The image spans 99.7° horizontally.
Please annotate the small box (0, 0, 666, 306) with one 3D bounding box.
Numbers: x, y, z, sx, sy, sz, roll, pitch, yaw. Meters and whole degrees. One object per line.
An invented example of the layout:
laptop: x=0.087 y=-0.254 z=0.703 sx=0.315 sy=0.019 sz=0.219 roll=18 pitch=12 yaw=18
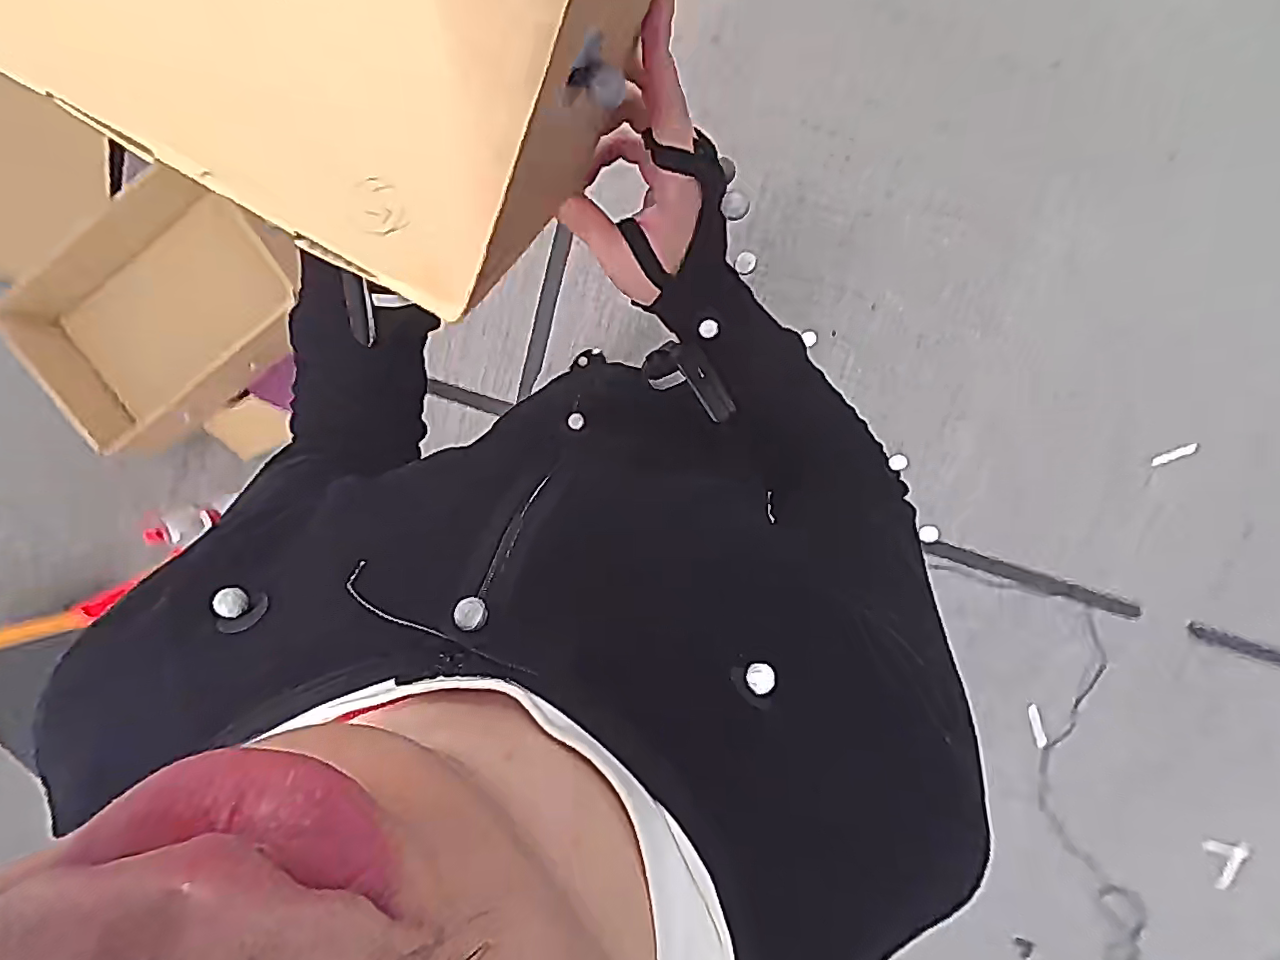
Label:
small box: x=-0.074 y=-0.203 z=0.182 sx=0.168 sy=0.176 sz=0.179 roll=28 pitch=135 yaw=-13
